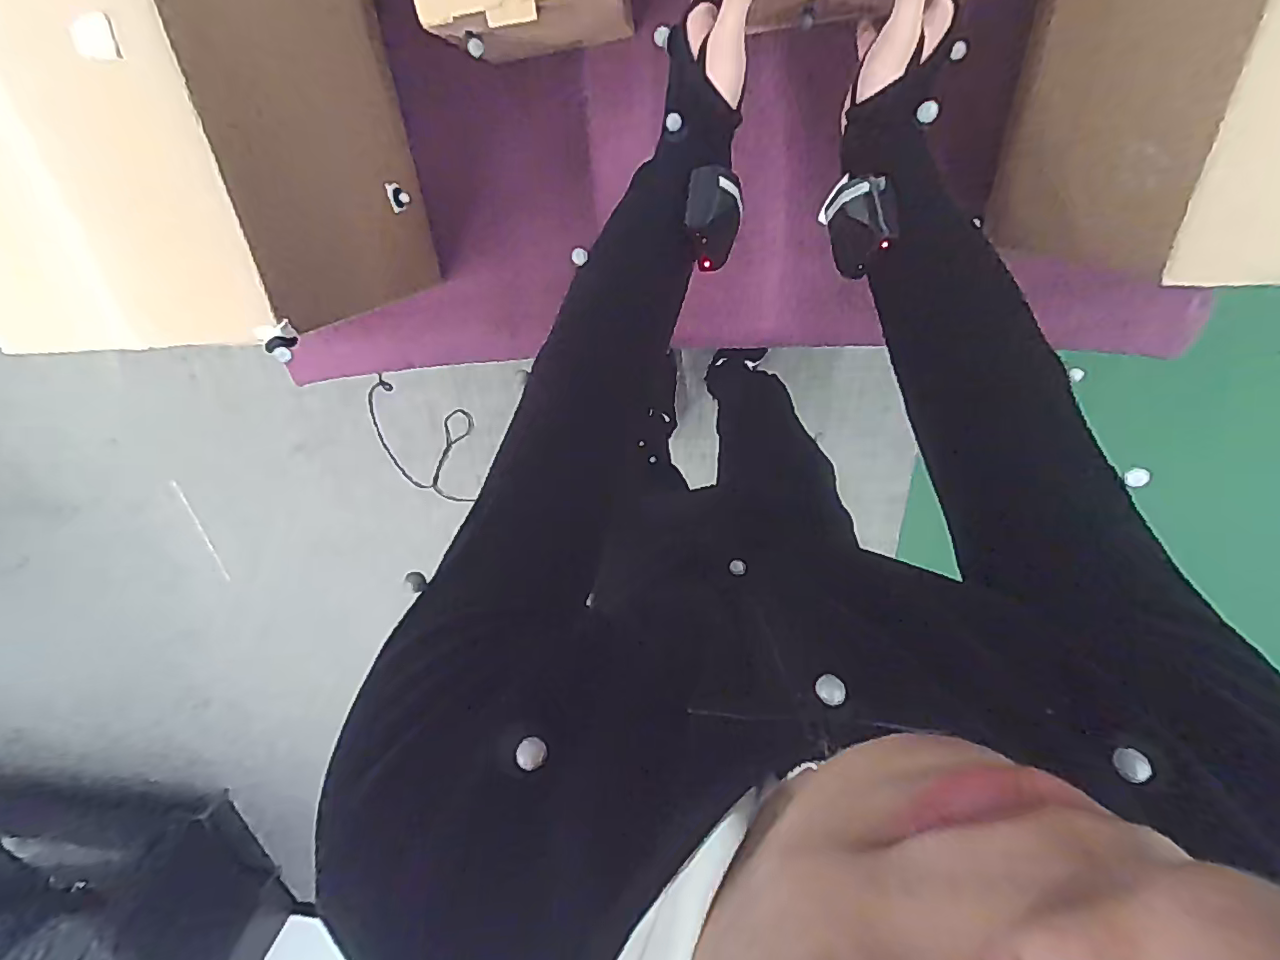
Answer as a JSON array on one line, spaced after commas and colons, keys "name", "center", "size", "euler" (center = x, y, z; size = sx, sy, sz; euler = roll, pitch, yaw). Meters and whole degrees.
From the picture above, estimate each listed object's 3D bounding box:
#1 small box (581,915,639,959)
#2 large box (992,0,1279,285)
[{"name": "small box", "center": [-0.100, 1.616, 1.829], "size": [0.168, 0.176, 0.179], "euler": [-3, 119, 9]}, {"name": "large box", "center": [0.514, -0.377, 0.375], "size": [0.320, 0.320, 0.408], "euler": [2, 119, 10]}]
